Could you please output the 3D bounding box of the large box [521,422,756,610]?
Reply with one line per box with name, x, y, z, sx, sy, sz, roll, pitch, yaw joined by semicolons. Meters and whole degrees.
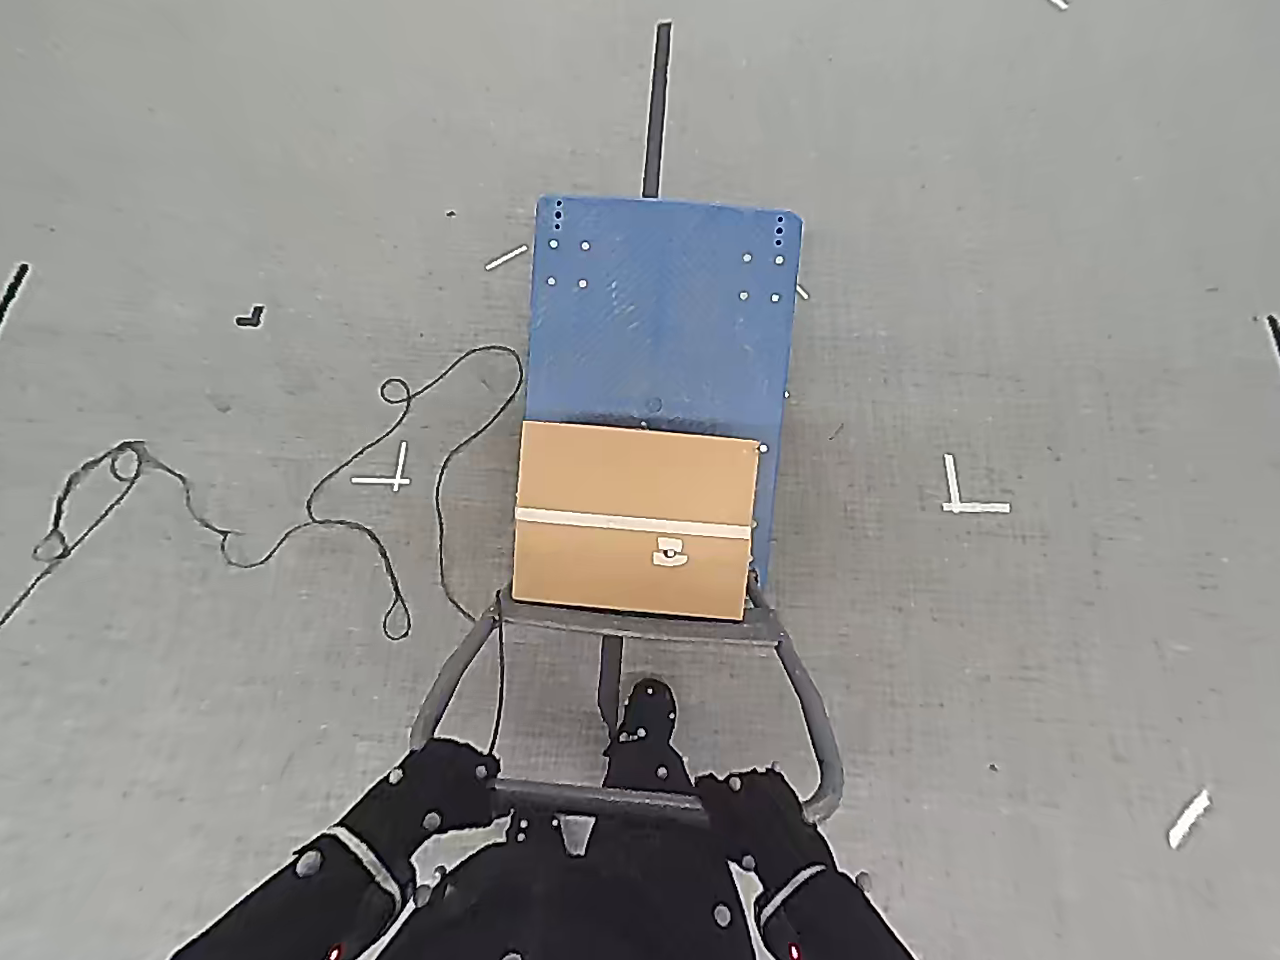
large box;-0.006;0.055;1.099;0.408;0.320;0.320;5;96;0
